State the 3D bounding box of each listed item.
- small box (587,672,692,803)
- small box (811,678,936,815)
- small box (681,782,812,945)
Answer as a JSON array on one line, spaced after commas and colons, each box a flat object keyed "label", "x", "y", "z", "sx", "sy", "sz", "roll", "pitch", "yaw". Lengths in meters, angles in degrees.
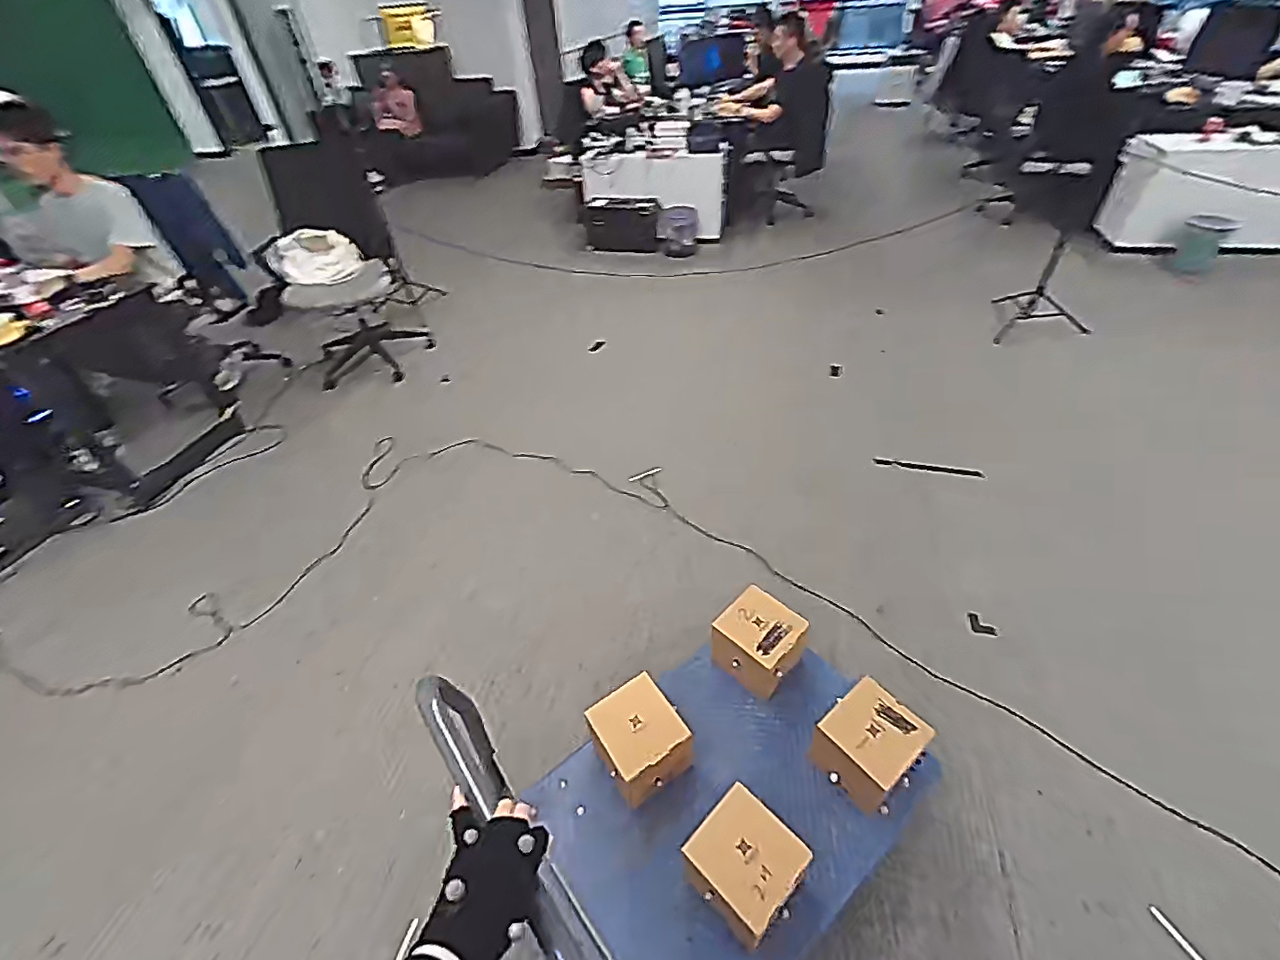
[{"label": "small box", "x": -0.002, "y": 0.575, "z": 1.207, "sx": 0.168, "sy": 0.176, "sz": 0.179, "roll": -27, "pitch": 48, "yaw": -22}, {"label": "small box", "x": 0.490, "y": 0.573, "z": 1.163, "sx": 0.179, "sy": 0.176, "sz": 0.168, "roll": -30, "pitch": 48, "yaw": -24}, {"label": "small box", "x": 0.194, "y": 0.726, "z": 1.024, "sx": 0.168, "sy": 0.176, "sz": 0.179, "roll": -34, "pitch": 50, "yaw": -28}]
